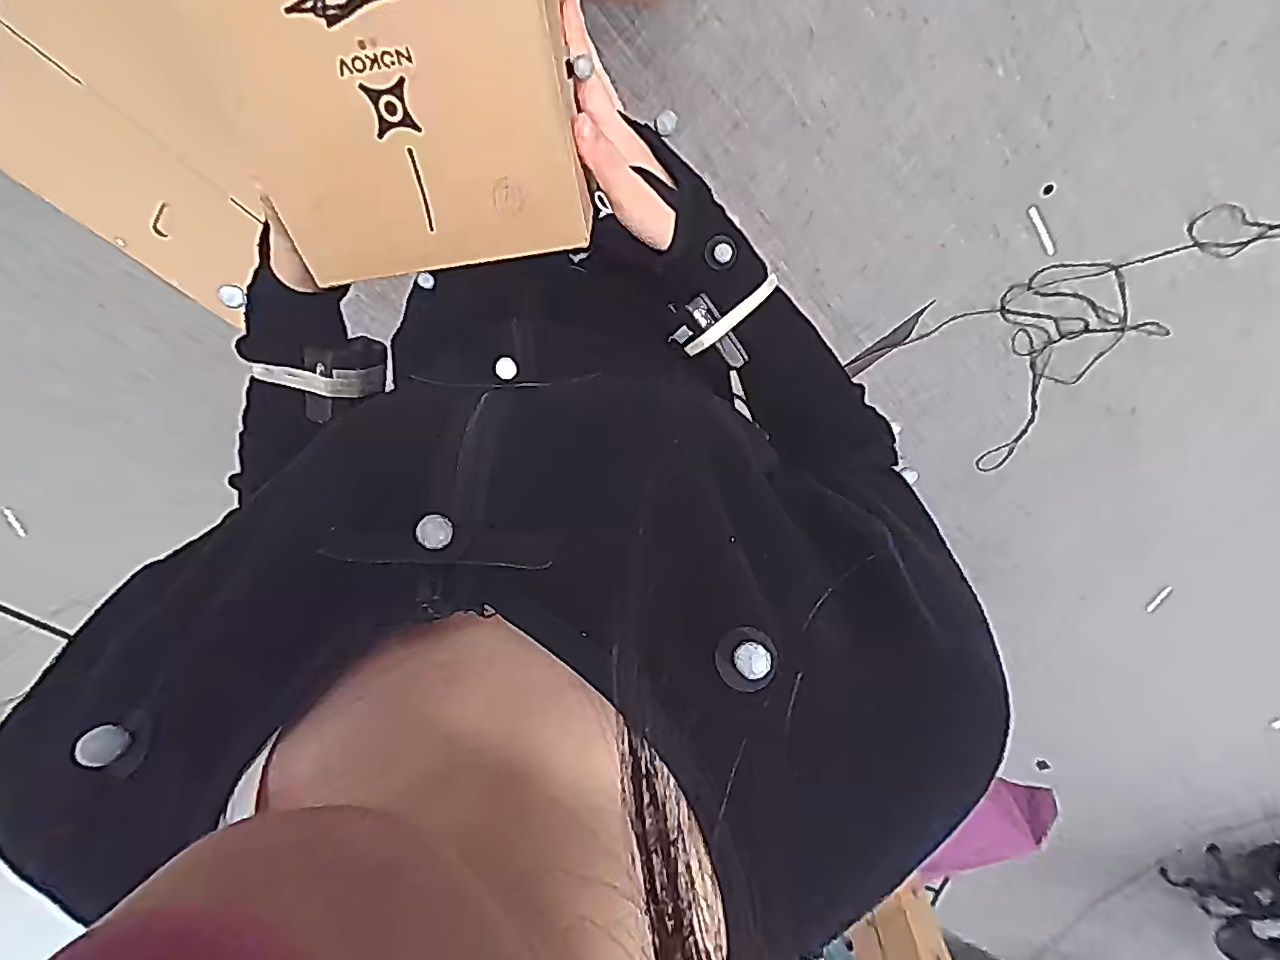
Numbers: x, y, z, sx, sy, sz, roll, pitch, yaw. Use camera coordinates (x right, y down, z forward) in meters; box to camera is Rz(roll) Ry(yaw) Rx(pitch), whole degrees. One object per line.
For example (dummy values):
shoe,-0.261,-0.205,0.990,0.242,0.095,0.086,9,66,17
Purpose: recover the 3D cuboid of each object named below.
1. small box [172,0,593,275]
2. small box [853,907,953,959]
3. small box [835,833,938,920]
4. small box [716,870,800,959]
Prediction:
small box,-0.125,-0.246,0.321,0.168,0.176,0.179,-7,130,4
small box,0.667,1.193,1.343,0.179,0.176,0.168,38,117,-25
small box,0.662,1.093,1.474,0.168,0.176,0.179,-39,117,24
small box,0.347,1.300,1.618,0.179,0.176,0.168,-36,117,23
